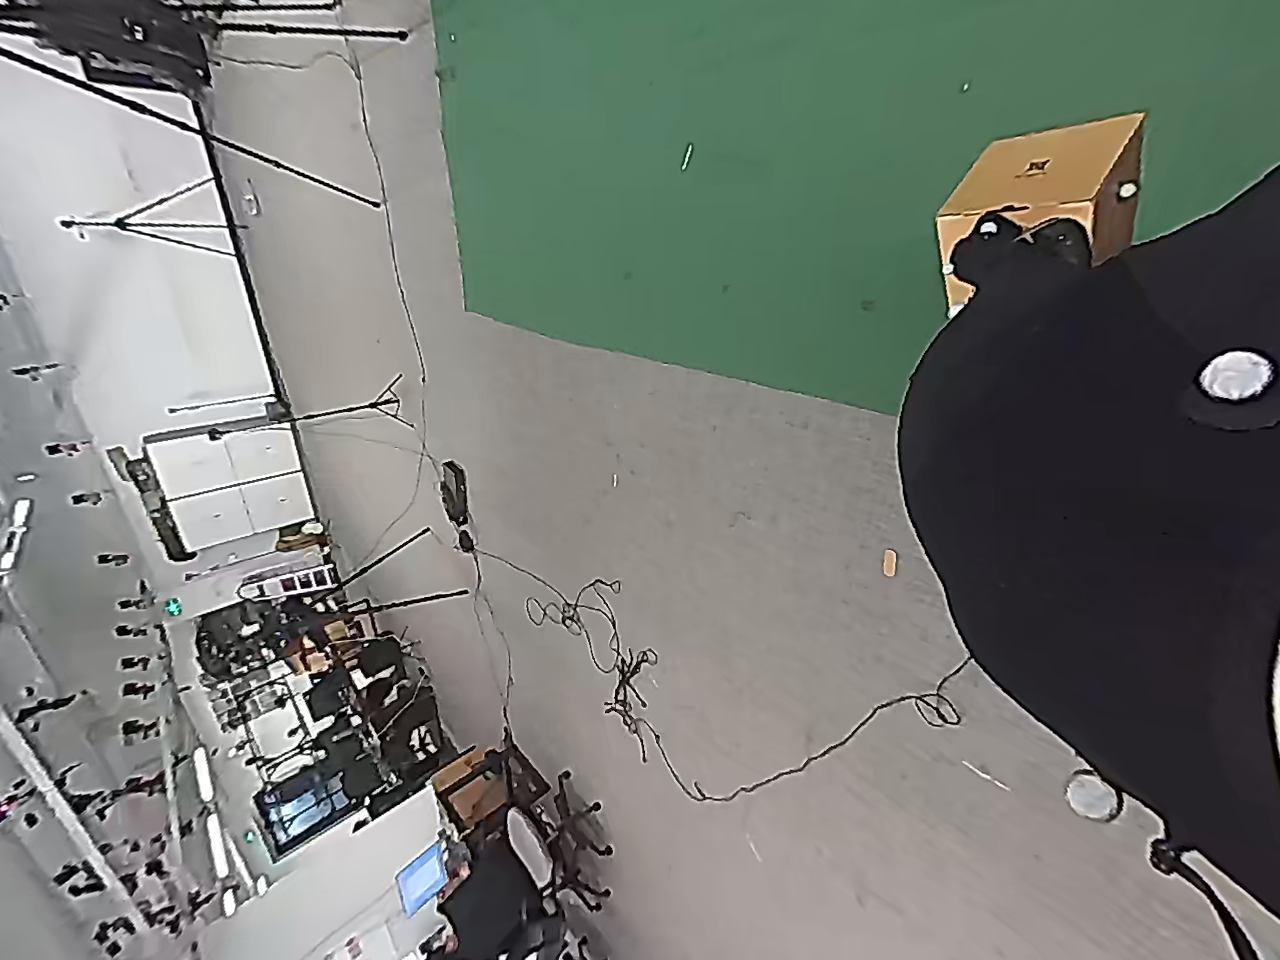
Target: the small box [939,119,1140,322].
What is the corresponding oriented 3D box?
[{"bbox_3d":[0.532,-0.338,0.730,0.168,0.179,0.176,20,156,47],"label":"small box"}]
